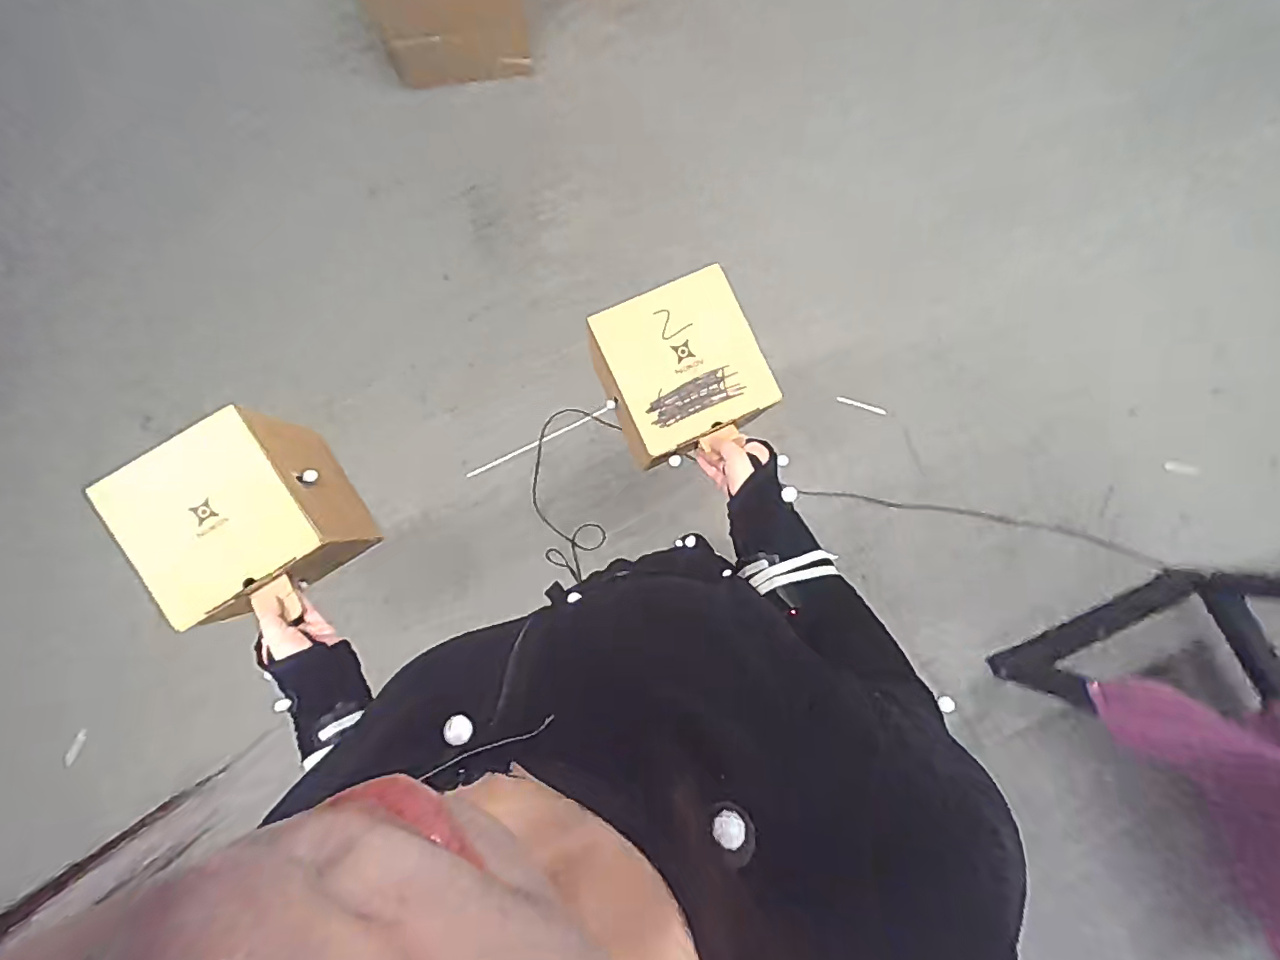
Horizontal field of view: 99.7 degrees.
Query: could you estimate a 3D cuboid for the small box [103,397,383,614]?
[{"bbox_3d":[-0.446,0.030,0.641,0.168,0.176,0.179,-32,90,-6],"label":"small box"}]
